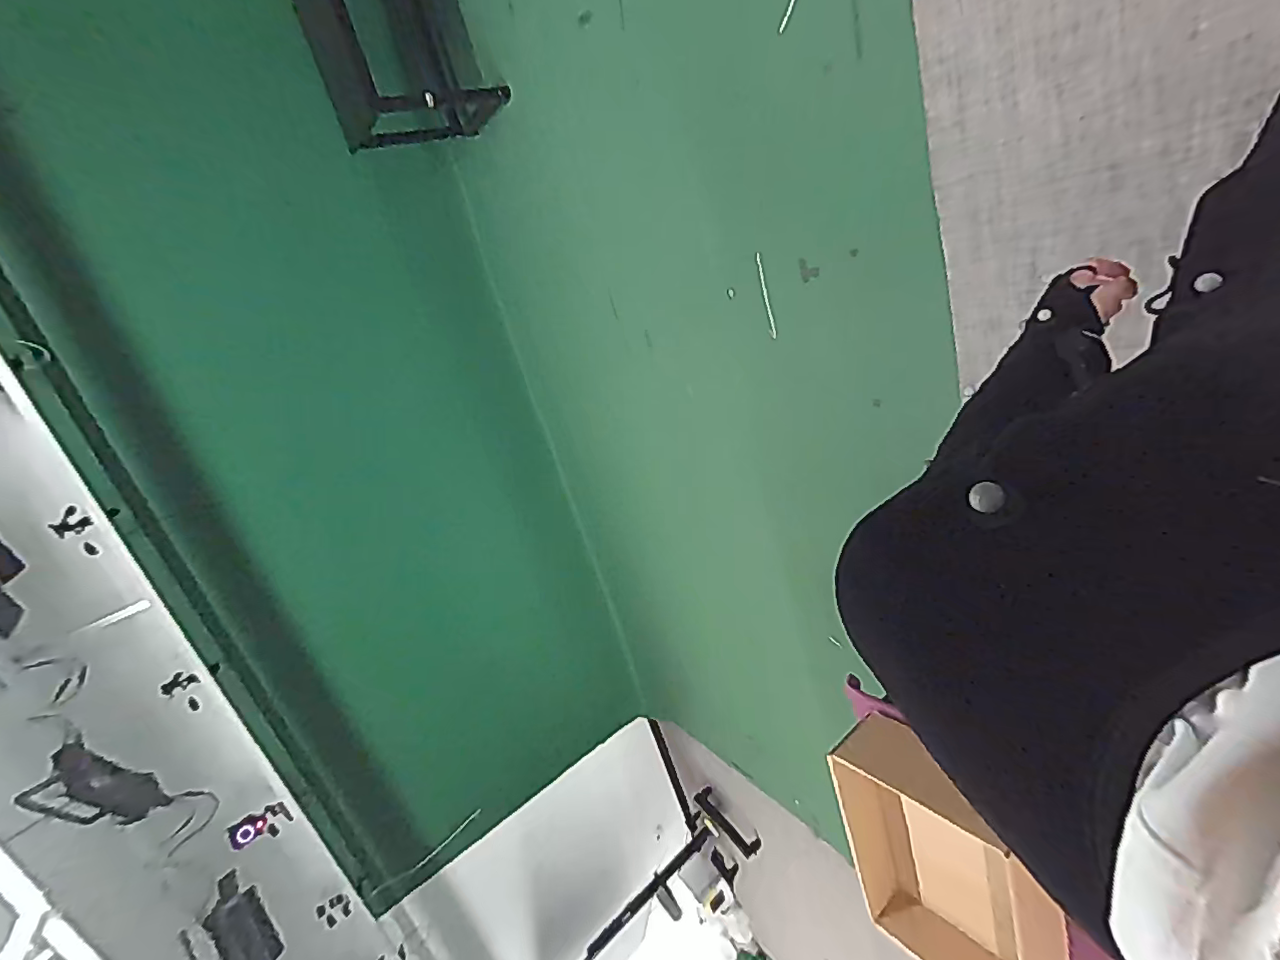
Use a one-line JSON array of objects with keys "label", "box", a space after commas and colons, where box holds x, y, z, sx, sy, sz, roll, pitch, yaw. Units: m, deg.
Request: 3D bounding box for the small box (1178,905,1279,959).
[{"label": "small box", "box": [0.967, 0.836, 0.849, 0.168, 0.176, 0.179, 10, 124, 56]}]
